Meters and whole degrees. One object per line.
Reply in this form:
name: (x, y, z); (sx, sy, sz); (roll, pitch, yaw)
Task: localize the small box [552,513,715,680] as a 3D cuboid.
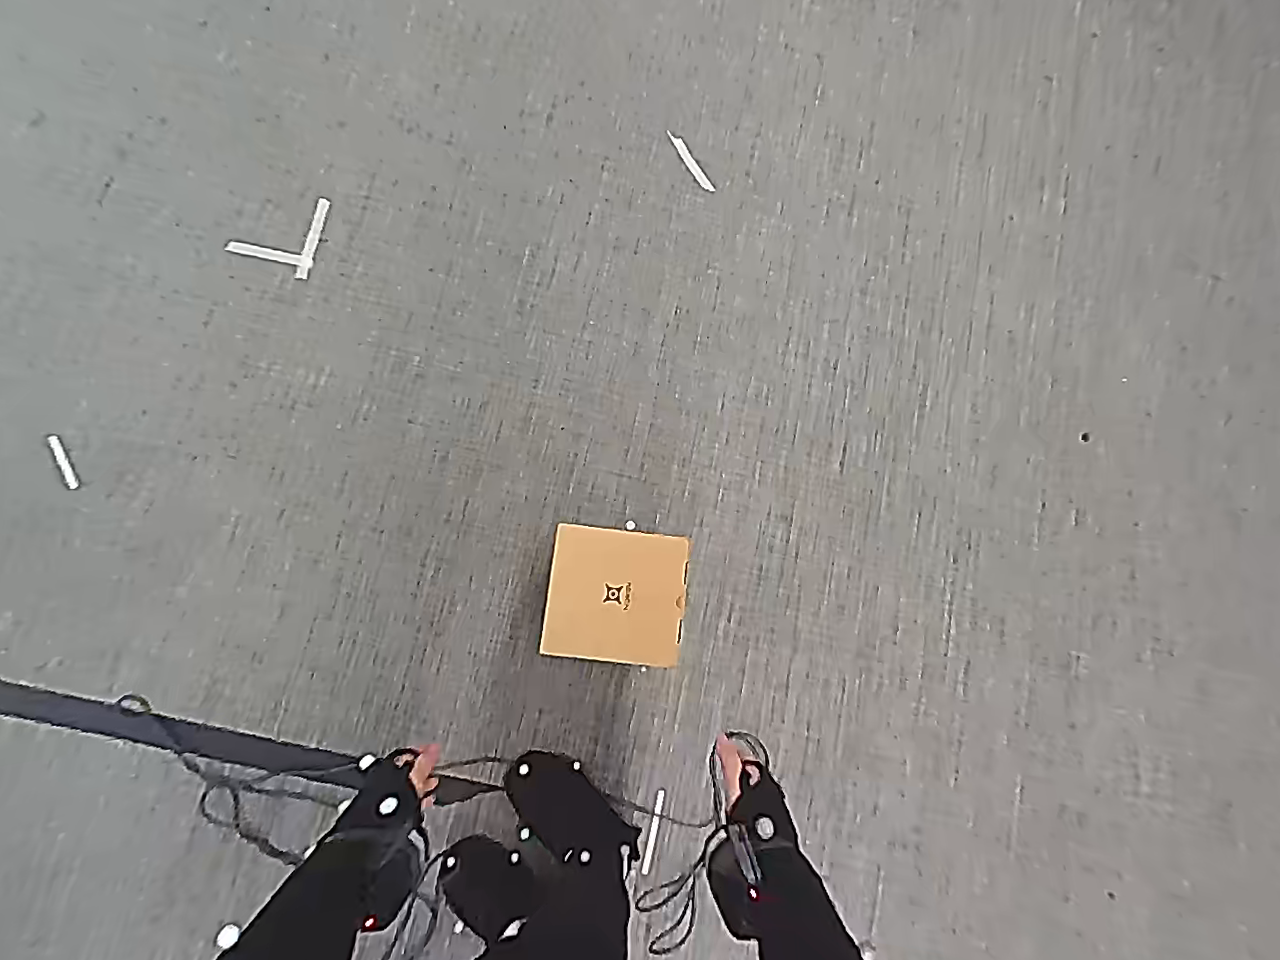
small box: (-0.014, 0.162, 0.722); (0.168, 0.176, 0.179); (11, 61, -22)
